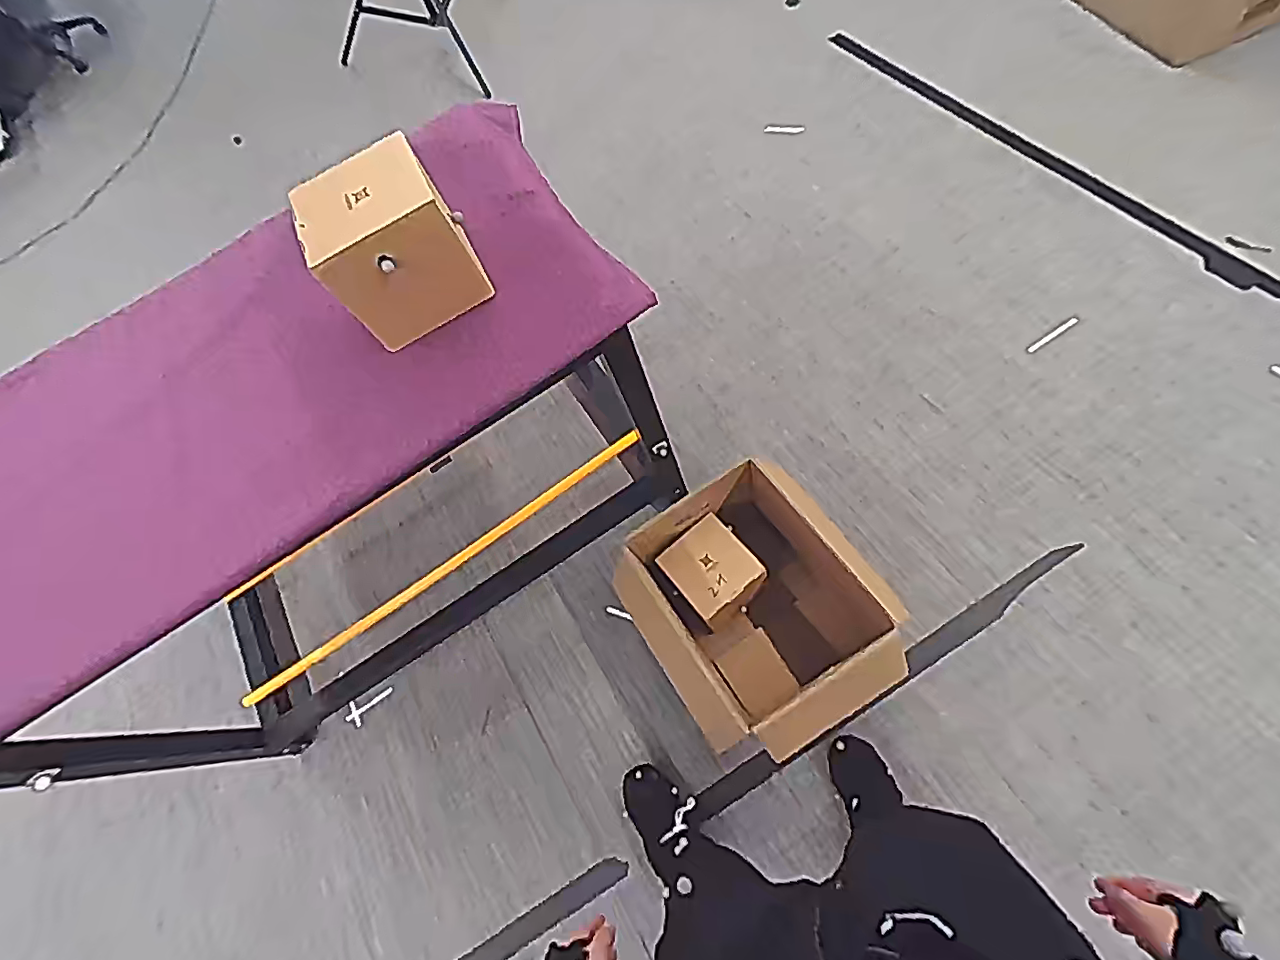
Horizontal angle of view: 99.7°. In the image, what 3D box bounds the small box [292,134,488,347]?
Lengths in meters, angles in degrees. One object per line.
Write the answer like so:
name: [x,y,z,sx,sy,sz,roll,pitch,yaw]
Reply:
small box: [-0.334,-0.324,0.753,0.179,0.176,0.168,-29,64,0]
